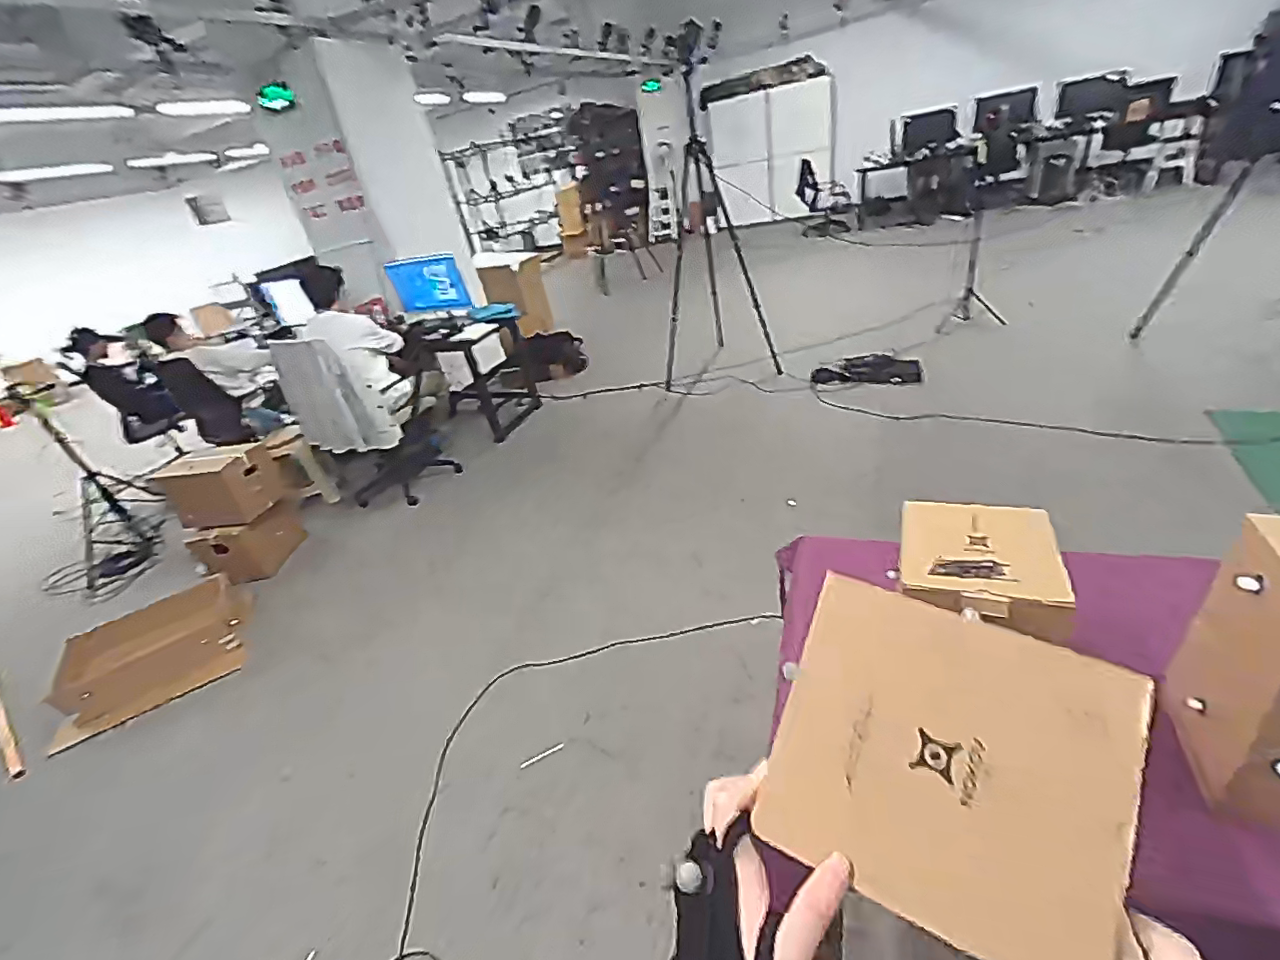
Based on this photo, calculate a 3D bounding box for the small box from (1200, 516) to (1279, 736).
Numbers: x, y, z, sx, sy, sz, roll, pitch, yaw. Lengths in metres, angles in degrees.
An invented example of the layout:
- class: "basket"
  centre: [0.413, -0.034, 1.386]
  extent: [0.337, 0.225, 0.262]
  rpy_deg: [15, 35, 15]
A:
- class: "small box"
  centre: [0.748, 0.162, 0.568]
  extent: [0.168, 0.176, 0.179]
  rpy_deg: [5, 36, 26]

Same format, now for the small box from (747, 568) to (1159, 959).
- class: "small box"
  centre: [0.194, 0.182, 0.376]
  extent: [0.179, 0.176, 0.168]
  rpy_deg: [19, 75, 24]

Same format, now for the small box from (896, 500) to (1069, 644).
- class: "small box"
  centre: [0.424, 0.148, 0.701]
  extent: [0.168, 0.176, 0.179]
  rpy_deg: [4, 34, 24]
